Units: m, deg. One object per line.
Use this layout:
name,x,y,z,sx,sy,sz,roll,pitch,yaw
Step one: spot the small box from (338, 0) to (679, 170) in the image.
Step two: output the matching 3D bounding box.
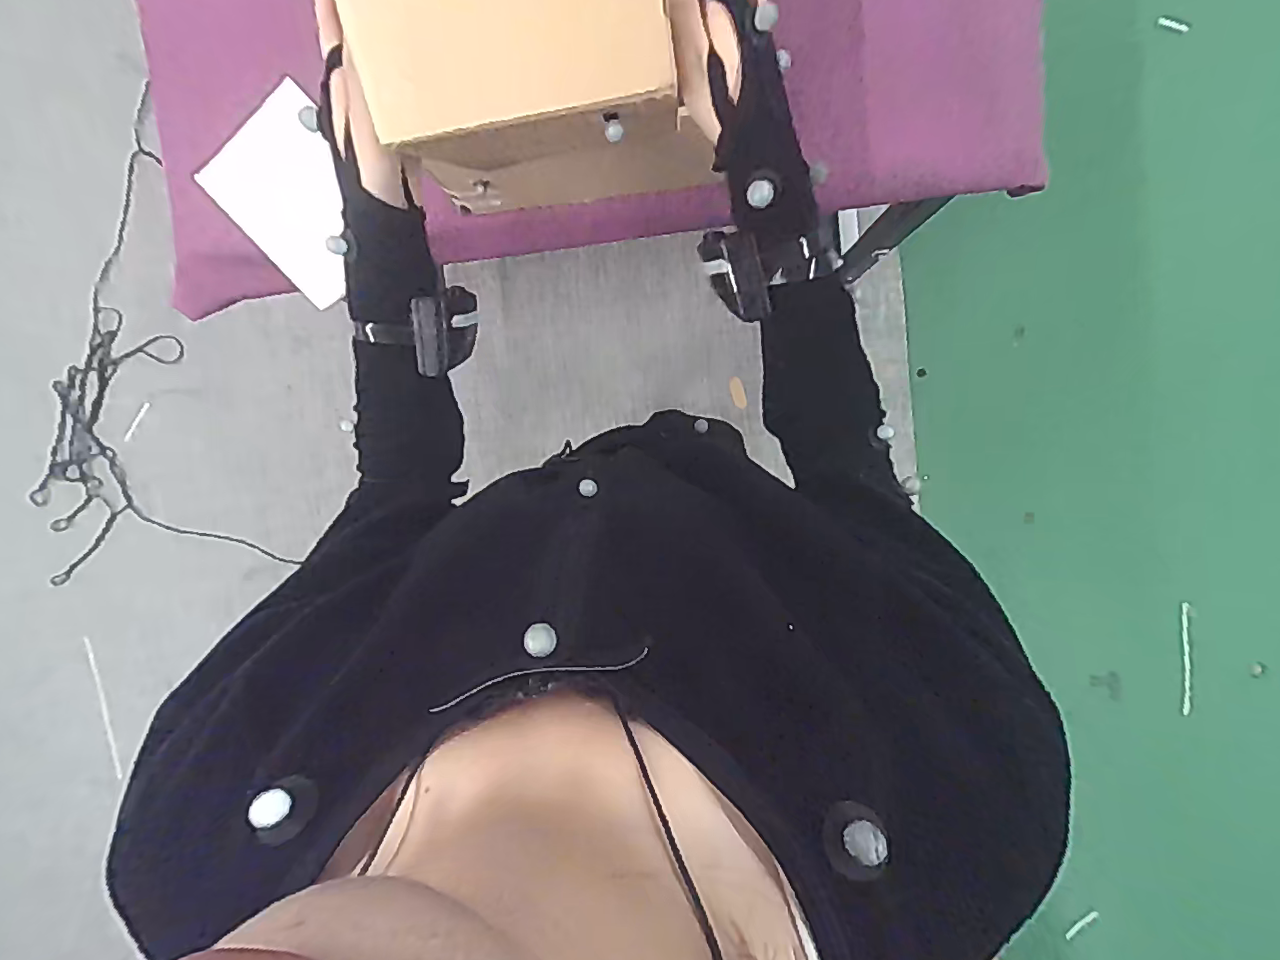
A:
small box,-0.071,-0.307,0.338,0.179,0.176,0.168,-8,114,5
